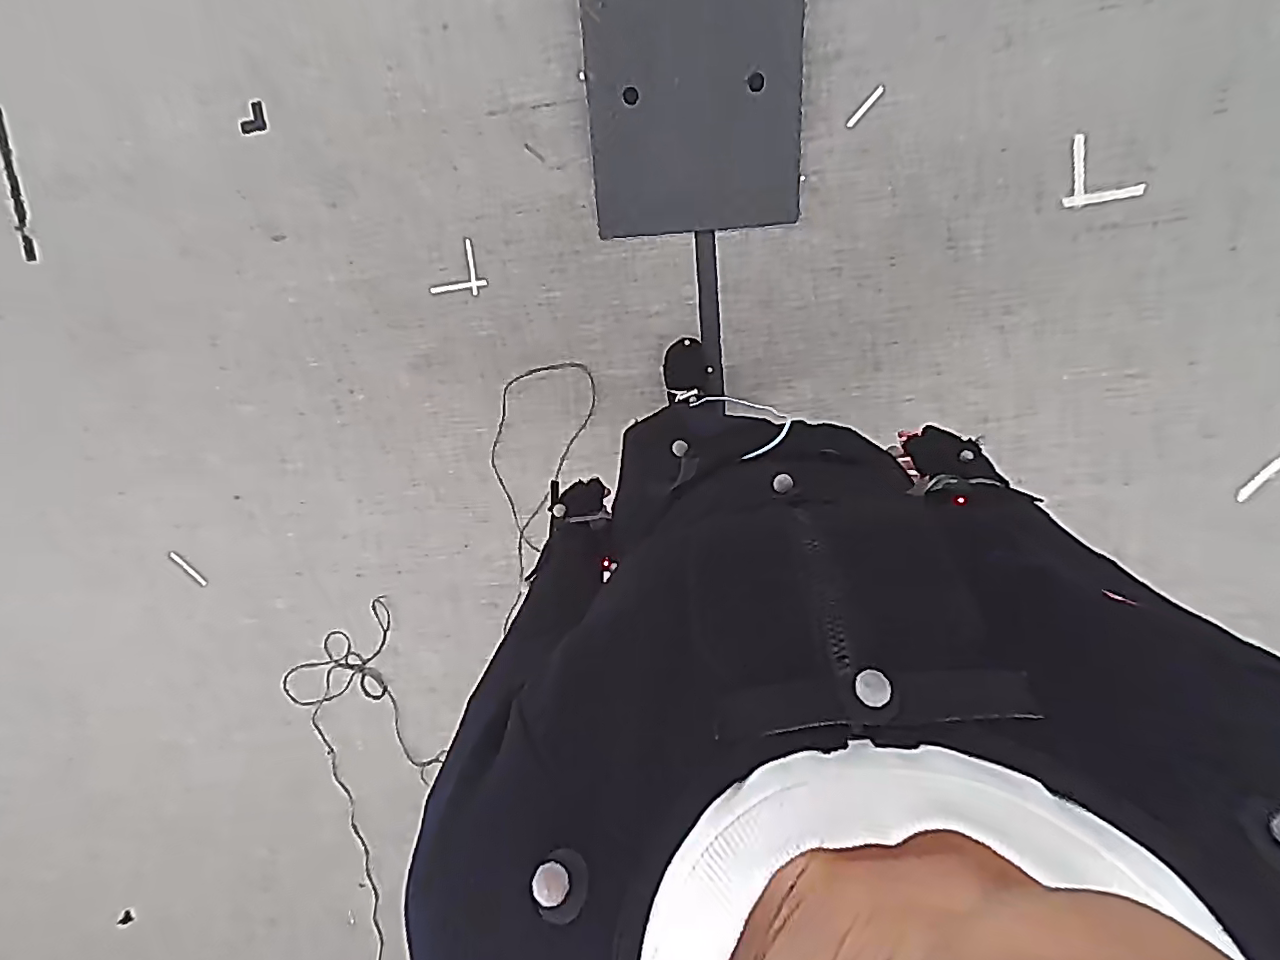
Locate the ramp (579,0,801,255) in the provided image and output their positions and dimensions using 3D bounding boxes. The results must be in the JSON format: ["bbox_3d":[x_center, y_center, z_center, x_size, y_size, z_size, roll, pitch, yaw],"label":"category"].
[{"bbox_3d":[0.108,-1.063,1.204,0.509,0.206,0.991,-5,98,6],"label":"ramp"}]
